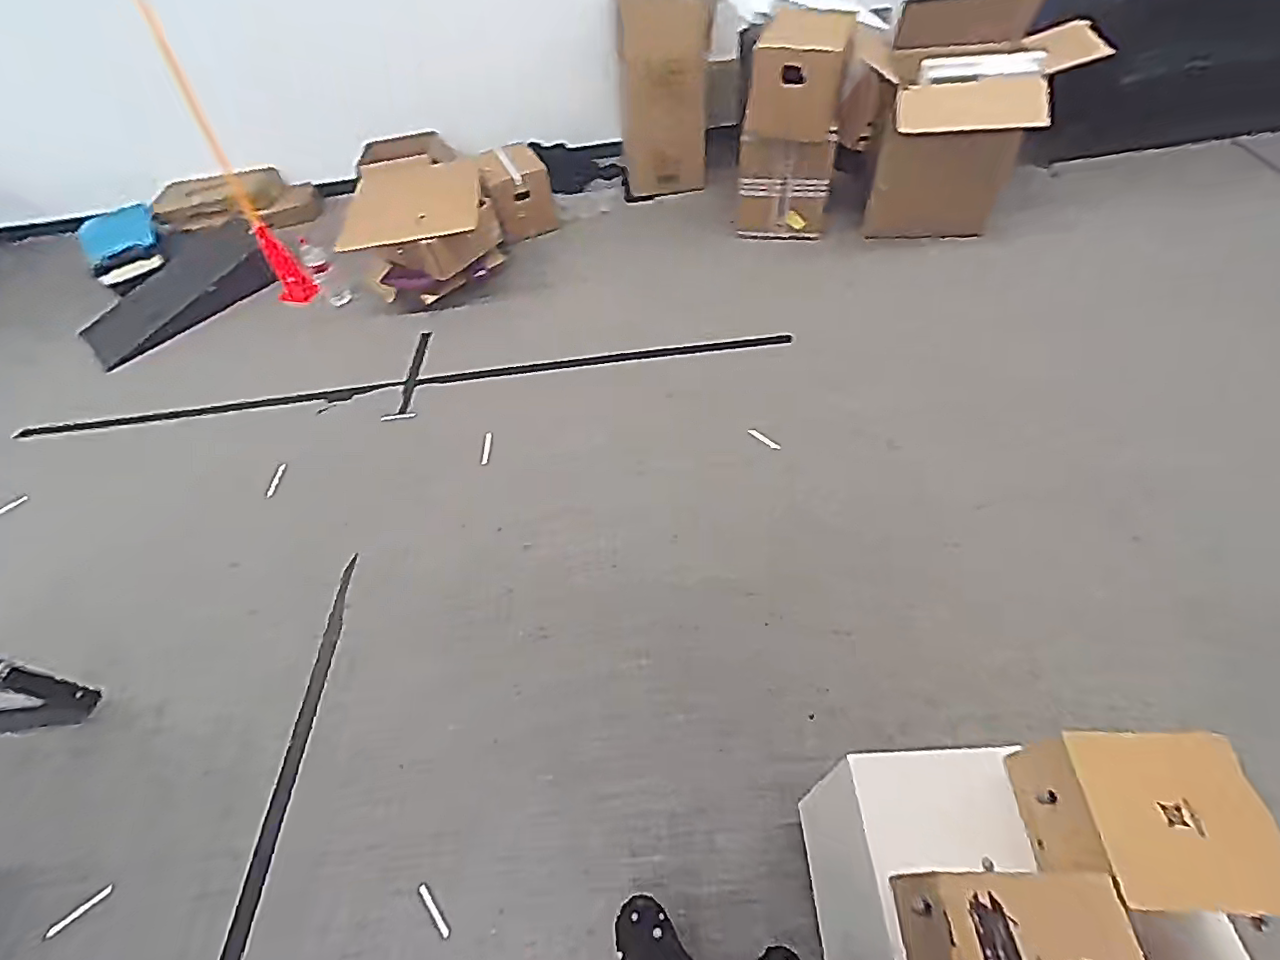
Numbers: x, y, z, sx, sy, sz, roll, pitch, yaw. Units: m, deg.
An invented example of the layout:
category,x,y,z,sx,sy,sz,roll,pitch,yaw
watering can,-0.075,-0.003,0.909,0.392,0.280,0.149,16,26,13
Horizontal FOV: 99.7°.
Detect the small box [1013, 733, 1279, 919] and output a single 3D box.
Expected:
category,x,y,z,sx,sy,sz,roll,pitch,yaw
small box,0.578,0.406,0.635,0.179,0.176,0.168,-2,53,6
